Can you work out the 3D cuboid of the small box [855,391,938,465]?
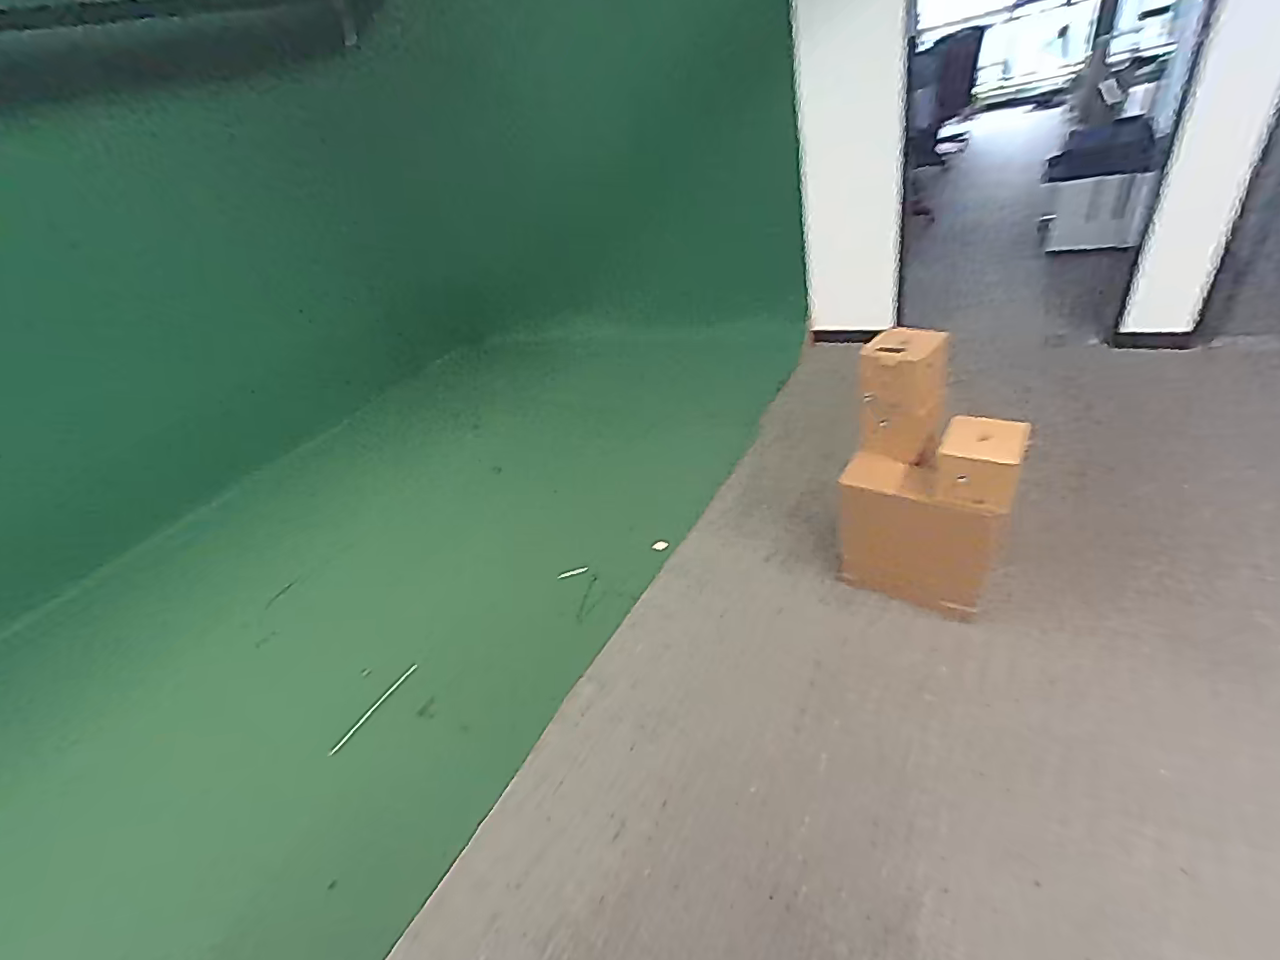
[{"bbox_3d":[0.763,-0.167,1.619,0.179,0.176,0.168,21,50,40],"label":"small box"}]

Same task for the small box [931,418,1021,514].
[{"bbox_3d":[0.865,-0.036,1.400,0.168,0.176,0.179,13,45,35],"label":"small box"}]

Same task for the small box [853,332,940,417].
[{"bbox_3d":[0.724,-0.299,1.527,0.168,0.176,0.179,22,49,42],"label":"small box"}]
